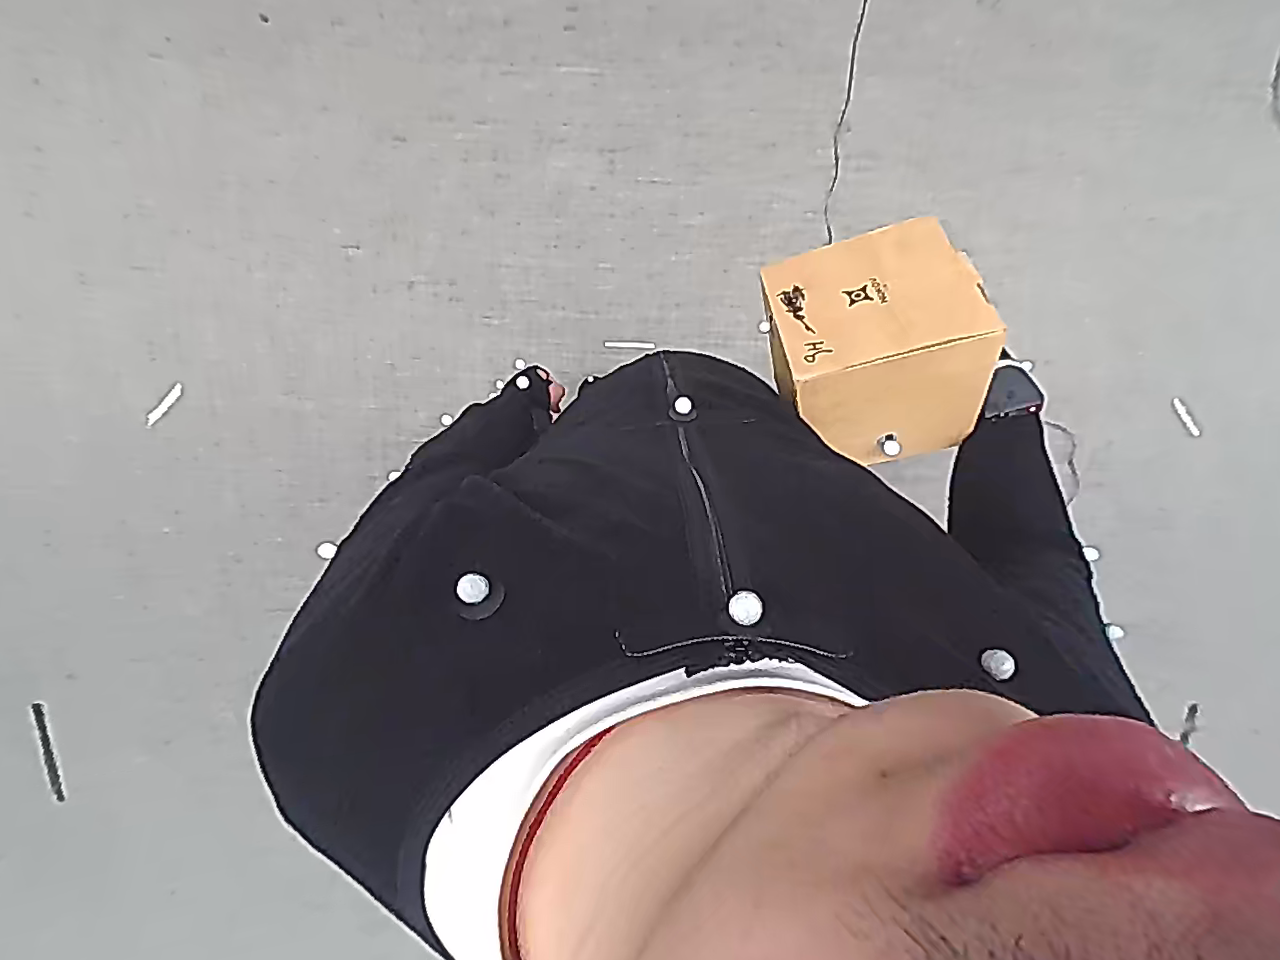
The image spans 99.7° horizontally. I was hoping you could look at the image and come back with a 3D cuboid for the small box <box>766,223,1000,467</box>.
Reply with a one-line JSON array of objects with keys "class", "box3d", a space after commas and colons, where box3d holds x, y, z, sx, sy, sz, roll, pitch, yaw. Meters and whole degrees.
[{"class": "small box", "box3d": [0.244, -0.136, 0.588, 0.179, 0.168, 0.176, -13, 145, 12]}]
